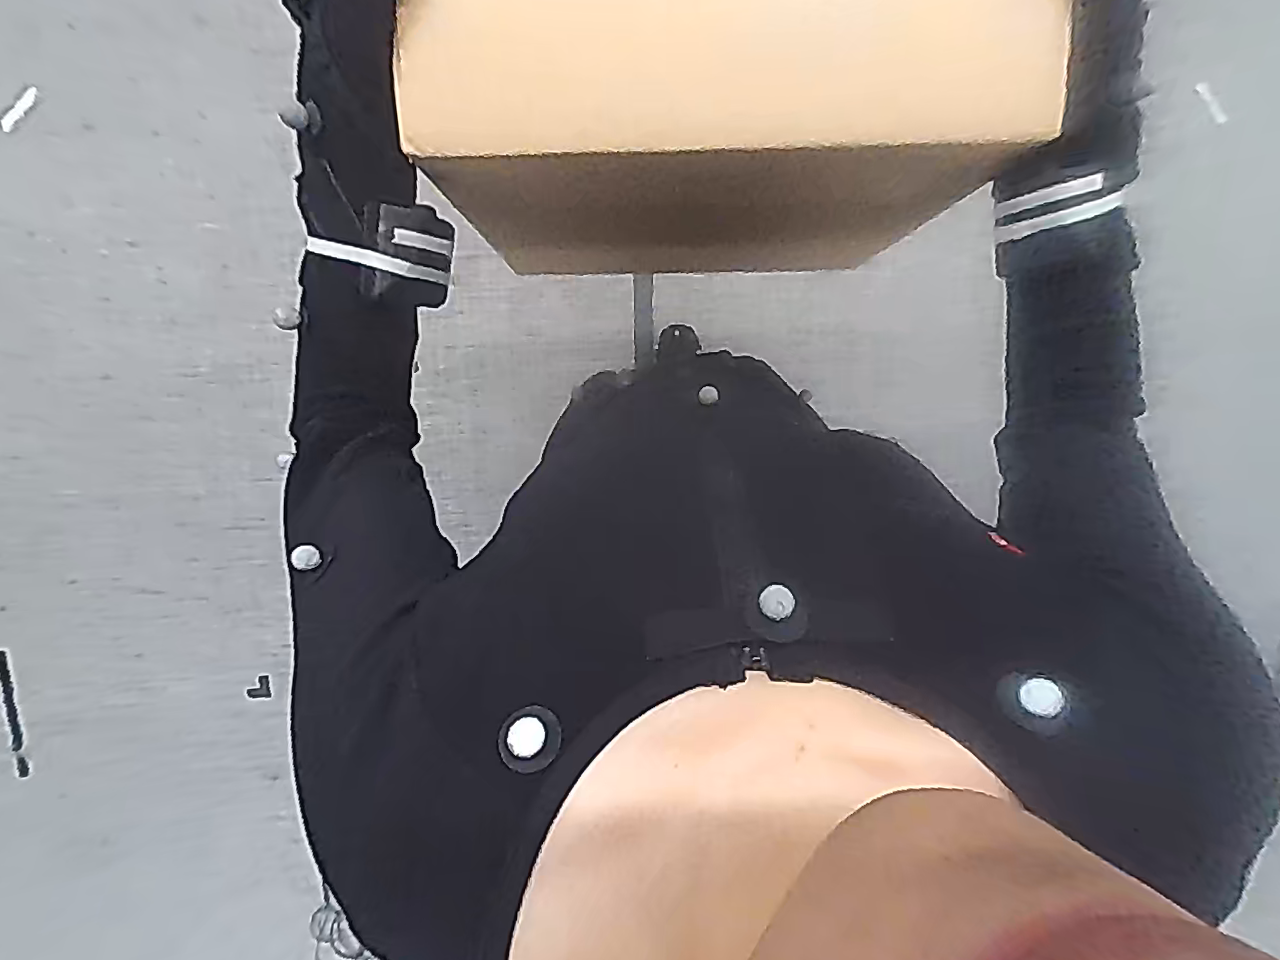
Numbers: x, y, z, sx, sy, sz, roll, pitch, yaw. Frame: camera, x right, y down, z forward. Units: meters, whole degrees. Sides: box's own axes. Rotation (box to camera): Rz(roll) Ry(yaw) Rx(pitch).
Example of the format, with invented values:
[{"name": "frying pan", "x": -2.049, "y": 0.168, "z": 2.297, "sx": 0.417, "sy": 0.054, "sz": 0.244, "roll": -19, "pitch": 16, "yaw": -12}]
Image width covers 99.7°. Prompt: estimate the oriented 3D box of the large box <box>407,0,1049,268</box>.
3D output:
[{"name": "large box", "x": 0.049, "y": -0.390, "z": 0.471, "sx": 0.408, "sy": 0.320, "sz": 0.320, "roll": -2, "pitch": 98, "yaw": 0}]
